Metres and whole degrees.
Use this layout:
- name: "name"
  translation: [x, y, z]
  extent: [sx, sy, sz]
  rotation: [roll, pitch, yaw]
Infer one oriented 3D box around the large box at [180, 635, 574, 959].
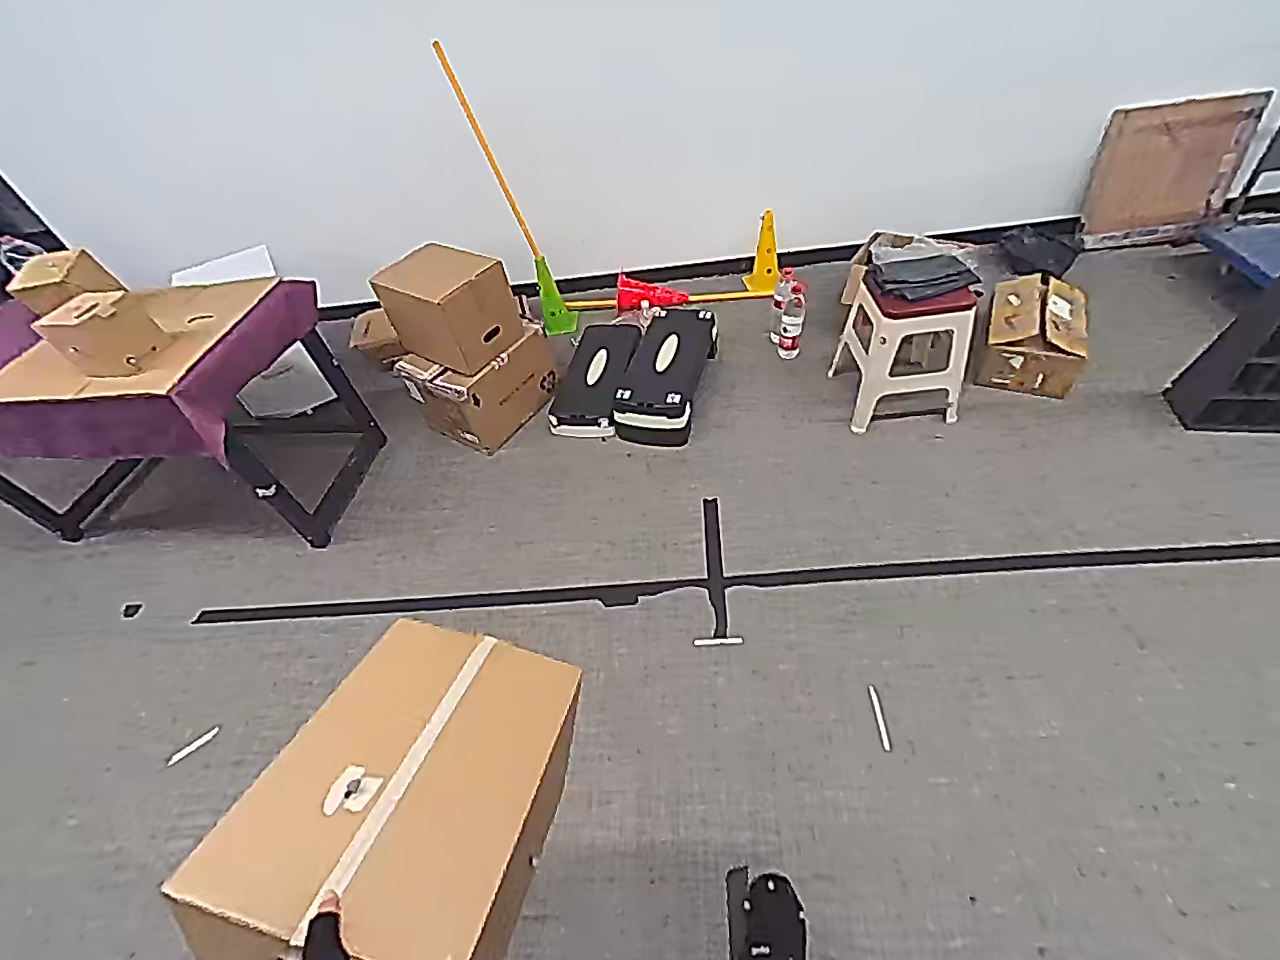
- name: "large box"
  translation: [-0.307, 0.502, 0.771]
  extent: [0.320, 0.320, 0.408]
  rotation: [12, 28, 6]
